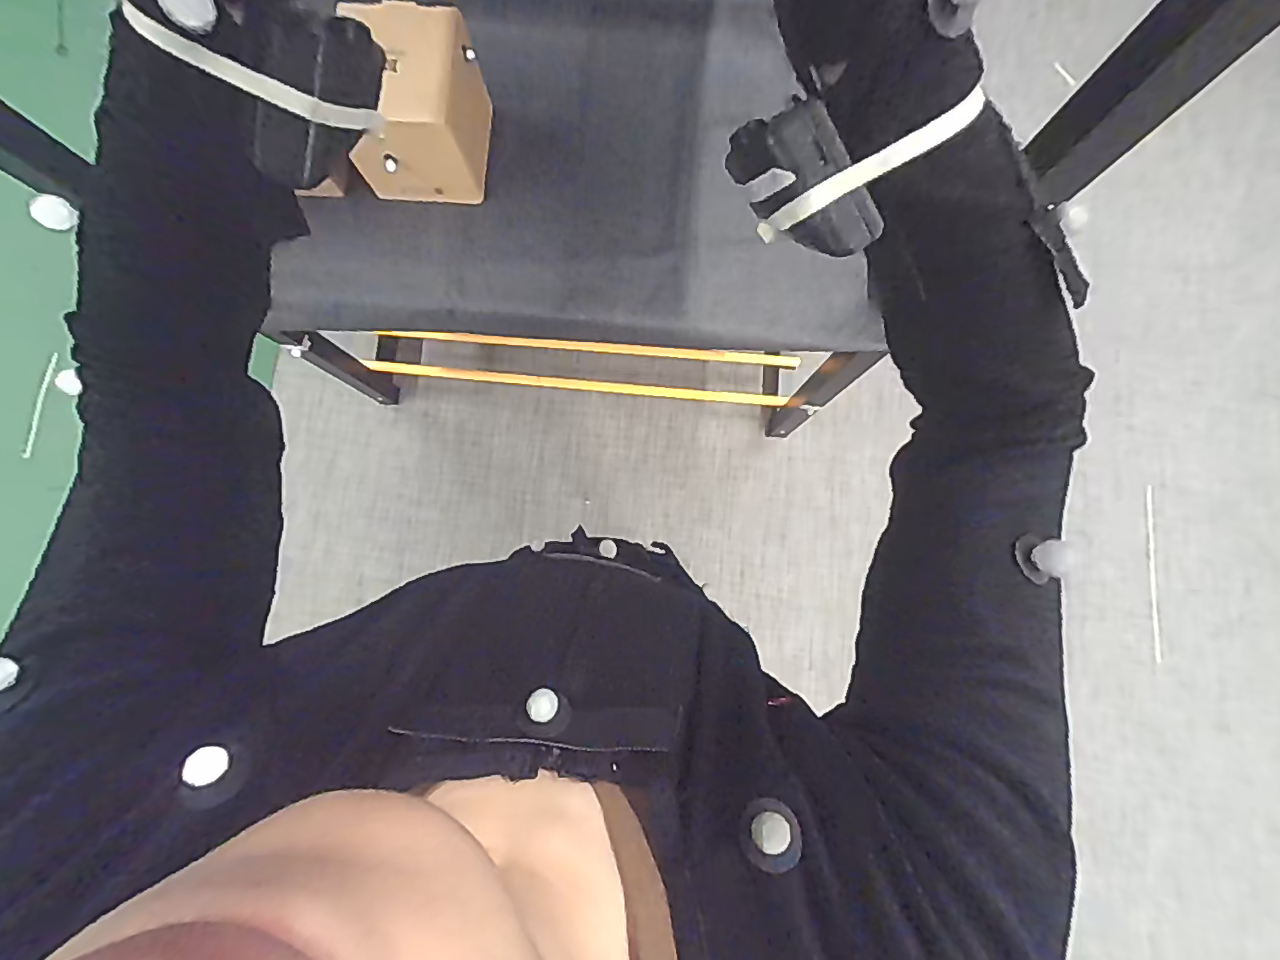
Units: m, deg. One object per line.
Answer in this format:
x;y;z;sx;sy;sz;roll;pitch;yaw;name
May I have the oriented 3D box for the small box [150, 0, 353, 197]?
-0.544;-0.548;0.785;0.168;0.176;0.179;2;82;0;small box
